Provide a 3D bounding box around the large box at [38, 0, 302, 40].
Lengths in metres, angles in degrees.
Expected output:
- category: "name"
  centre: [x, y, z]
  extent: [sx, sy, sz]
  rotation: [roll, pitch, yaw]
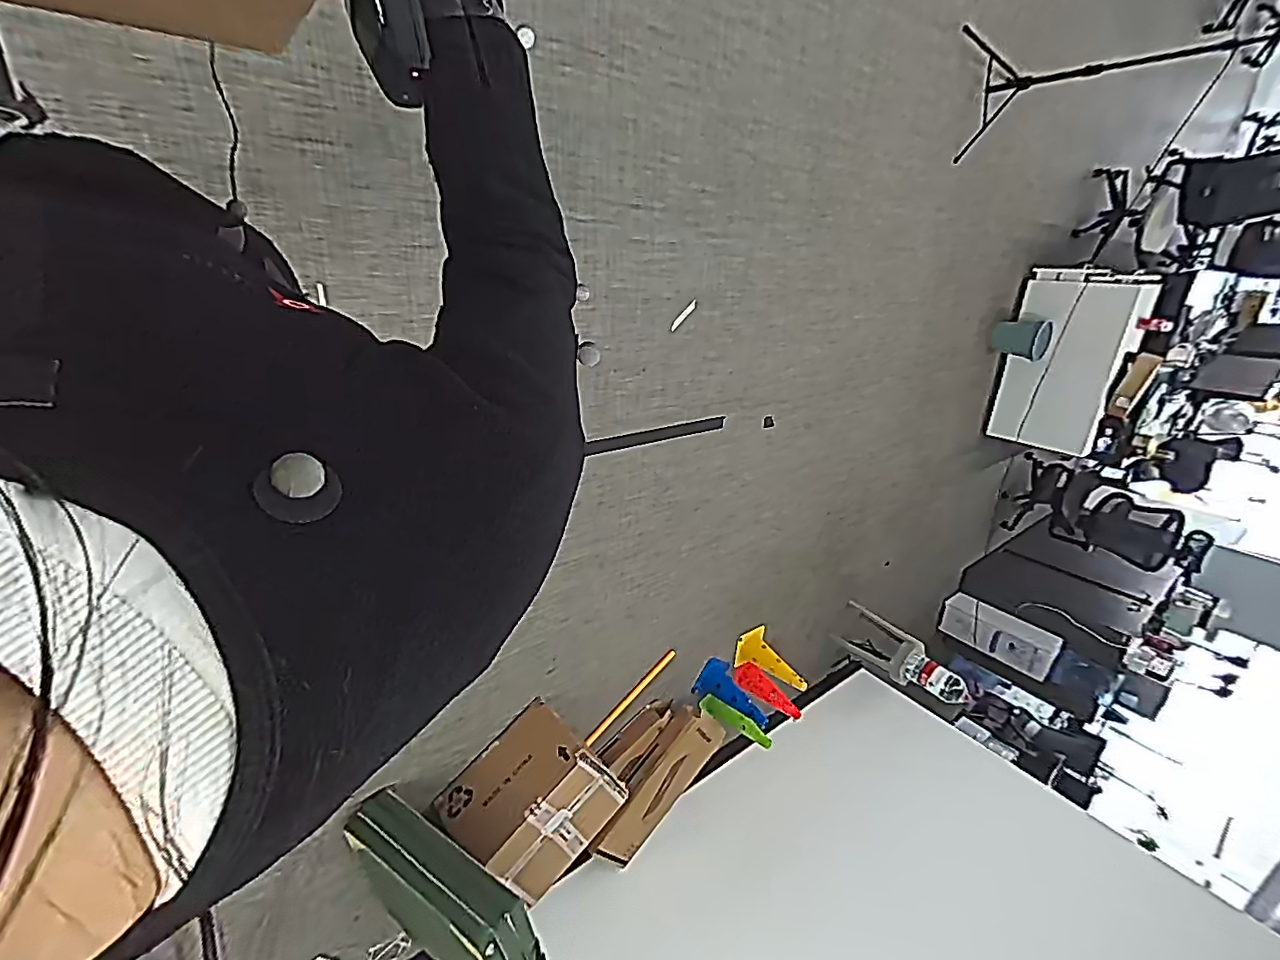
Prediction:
- category: "large box"
  centre: [-0.405, -0.449, 0.234]
  extent: [0.408, 0.320, 0.320]
  rotation: [-17, 123, -35]
